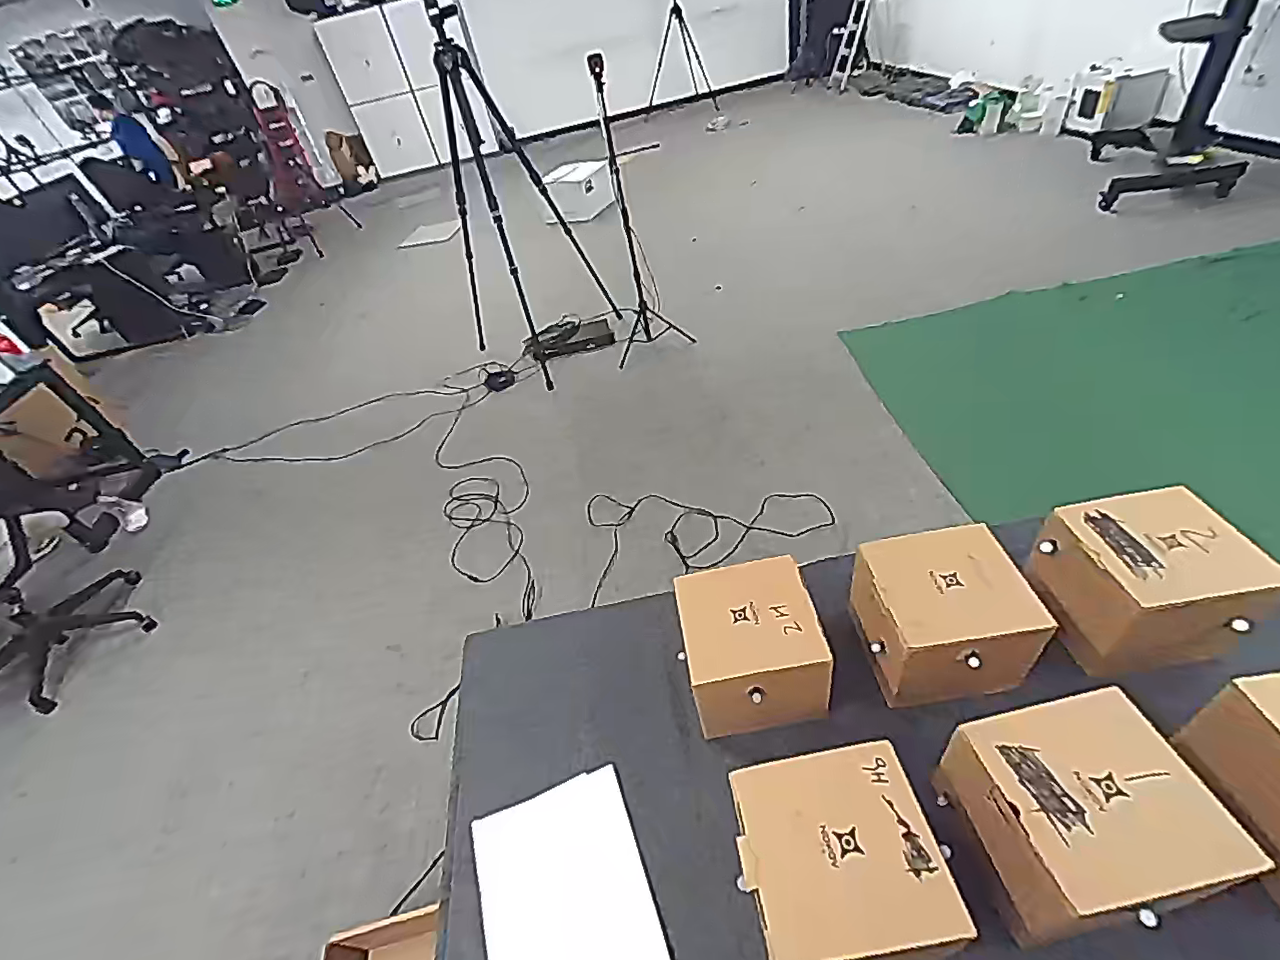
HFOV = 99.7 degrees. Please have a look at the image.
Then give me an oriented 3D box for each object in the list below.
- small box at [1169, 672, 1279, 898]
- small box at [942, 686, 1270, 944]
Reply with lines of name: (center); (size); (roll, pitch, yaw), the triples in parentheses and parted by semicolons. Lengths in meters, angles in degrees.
small box: (0.699, 0.306, 0.534); (0.168, 0.176, 0.179); (-10, 42, 4)
small box: (0.441, 0.345, 0.557); (0.179, 0.176, 0.168); (-14, 42, -1)
